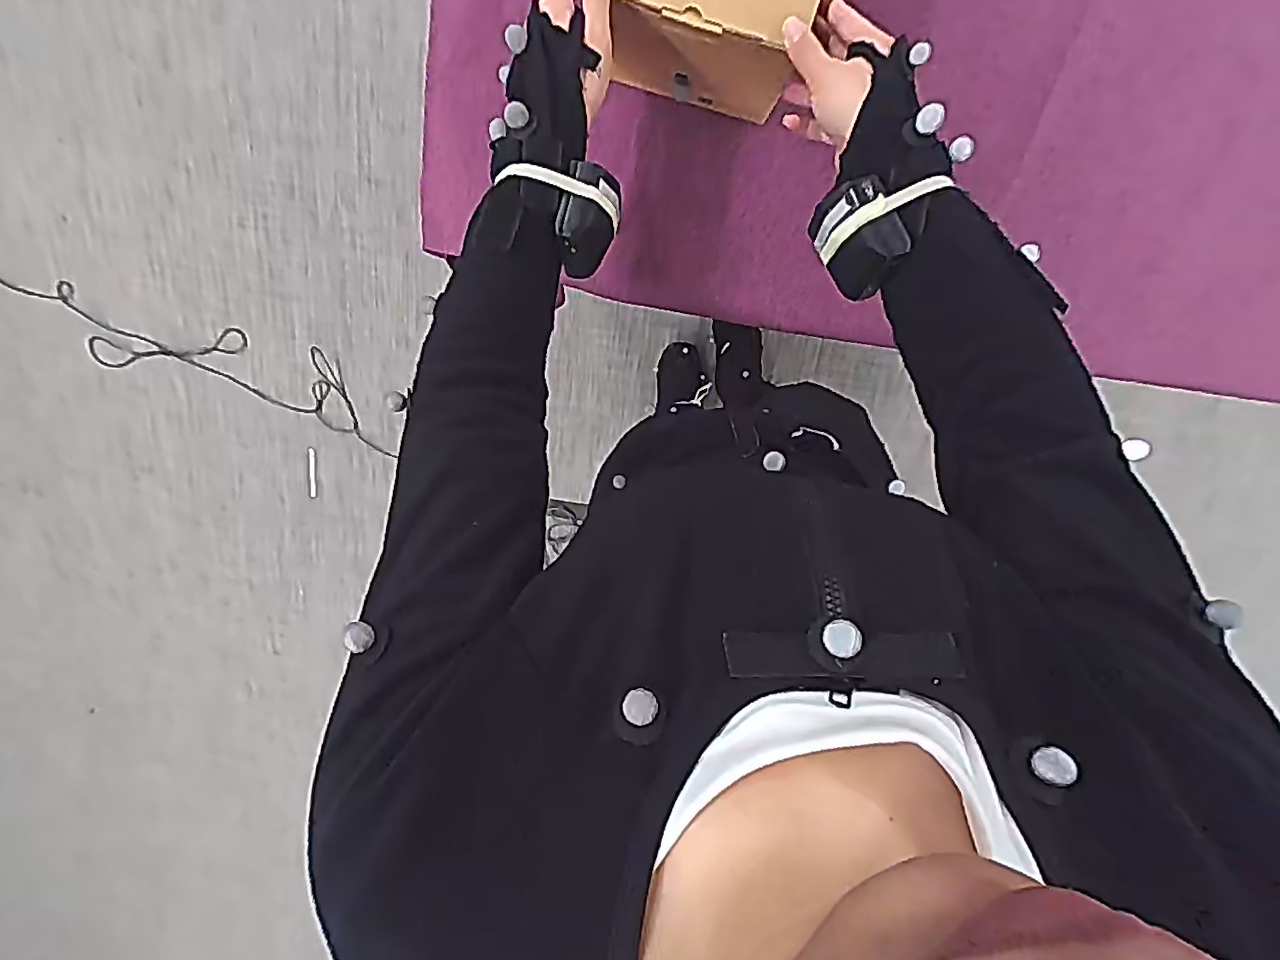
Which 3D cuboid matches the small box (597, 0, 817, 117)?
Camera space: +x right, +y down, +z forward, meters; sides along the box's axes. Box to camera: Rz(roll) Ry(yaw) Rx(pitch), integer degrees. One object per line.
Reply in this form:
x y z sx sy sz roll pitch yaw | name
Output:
0.061 -0.429 0.427 0.168 0.176 0.179 15 108 -3 | small box
